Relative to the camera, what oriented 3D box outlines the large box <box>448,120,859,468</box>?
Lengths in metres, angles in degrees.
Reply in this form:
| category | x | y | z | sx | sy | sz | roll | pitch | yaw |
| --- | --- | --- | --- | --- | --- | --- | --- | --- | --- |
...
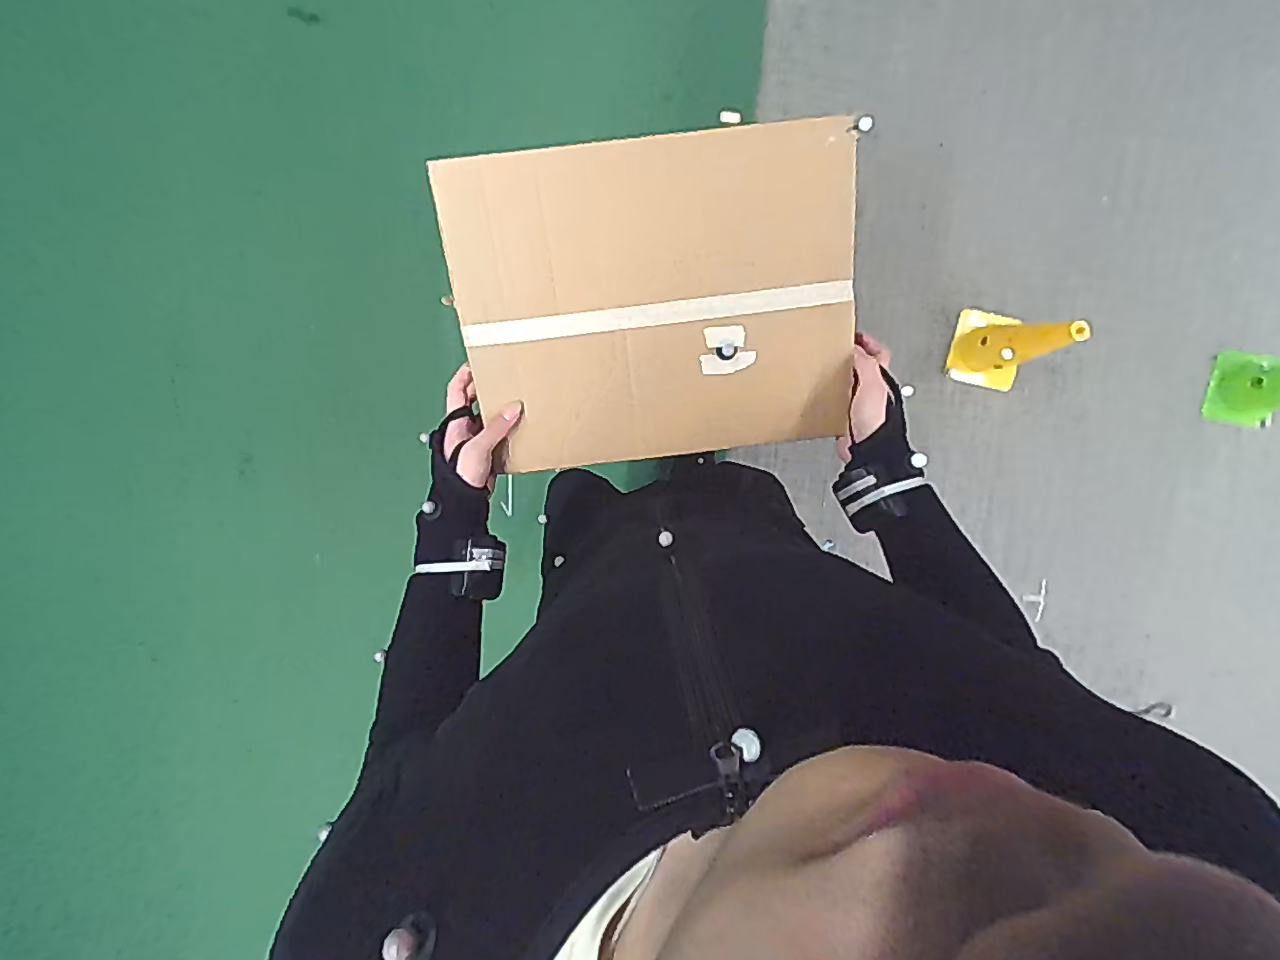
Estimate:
| category | x | y | z | sx | sy | sz | roll | pitch | yaw |
| --- | --- | --- | --- | --- | --- | --- | --- | --- | --- |
| large box | 0.019 | -0.228 | 0.704 | 0.408 | 0.320 | 0.320 | -6 | 111 | -1 |

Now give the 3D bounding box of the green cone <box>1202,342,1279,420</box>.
| category | x | y | z | sx | sy | sz | roll | pitch | yaw |
| --- | --- | --- | --- | --- | --- | --- | --- | --- | --- |
| green cone | 1.735 | -0.267 | 1.386 | 0.202 | 0.368 | 0.200 | 10 | 97 | 2 |
